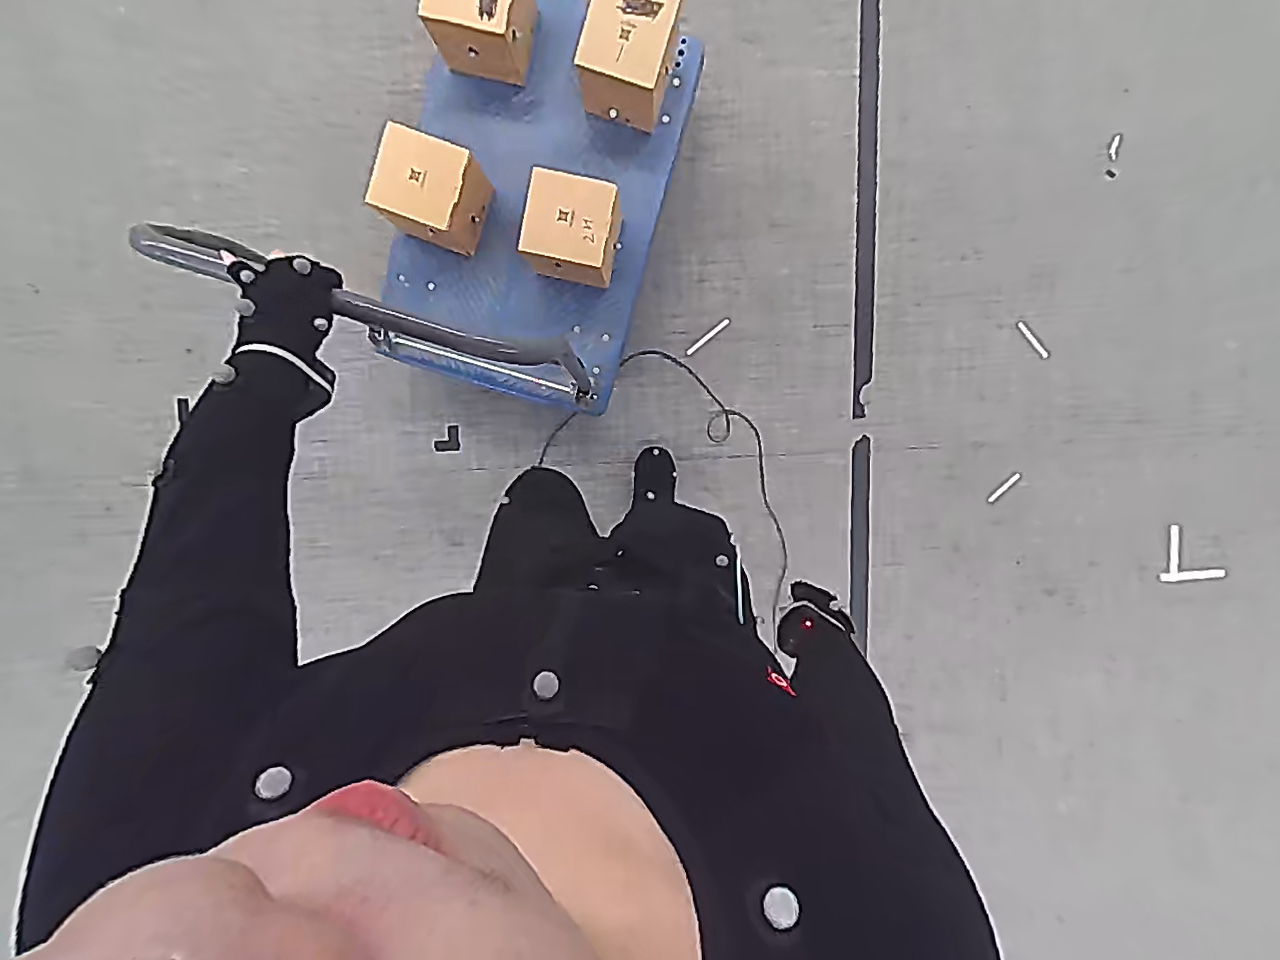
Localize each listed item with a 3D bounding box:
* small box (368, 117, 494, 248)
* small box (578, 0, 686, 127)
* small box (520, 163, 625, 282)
[{"bbox_3d":[-0.435,-0.618,1.149,0.179,0.176,0.168,19,96,-3],"label":"small box"},{"bbox_3d":[-0.016,-0.877,1.110,0.168,0.176,0.179,18,98,-1],"label":"small box"},{"bbox_3d":[-0.136,-0.536,1.151,0.179,0.176,0.168,13,97,0],"label":"small box"}]
